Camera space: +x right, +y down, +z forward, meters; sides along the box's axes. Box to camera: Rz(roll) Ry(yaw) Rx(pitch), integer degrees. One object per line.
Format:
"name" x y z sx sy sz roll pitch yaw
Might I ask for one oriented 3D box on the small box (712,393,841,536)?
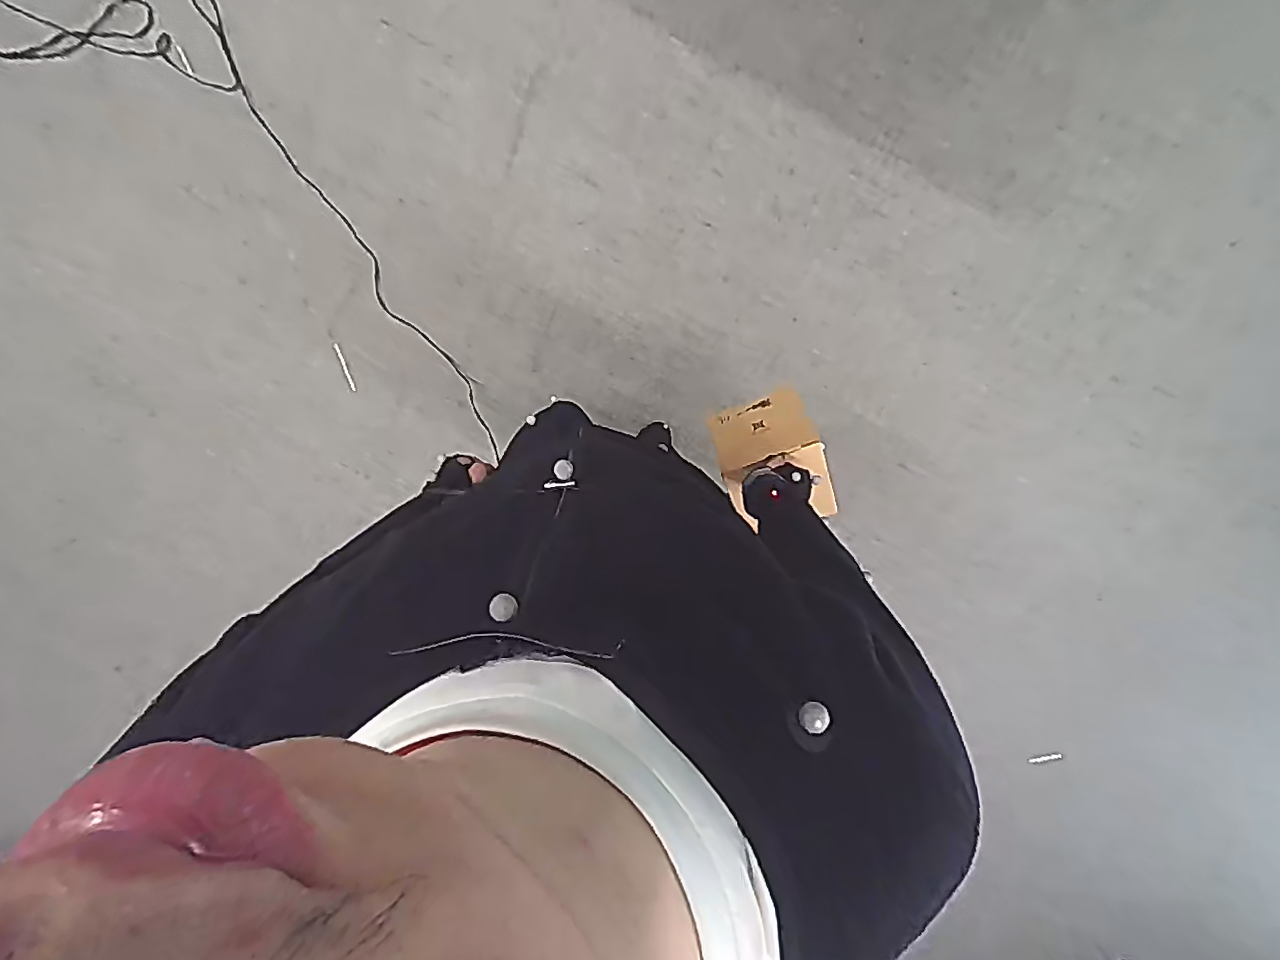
"small box" 0.246 -0.020 0.978 0.168 0.179 0.176 -21 126 12
